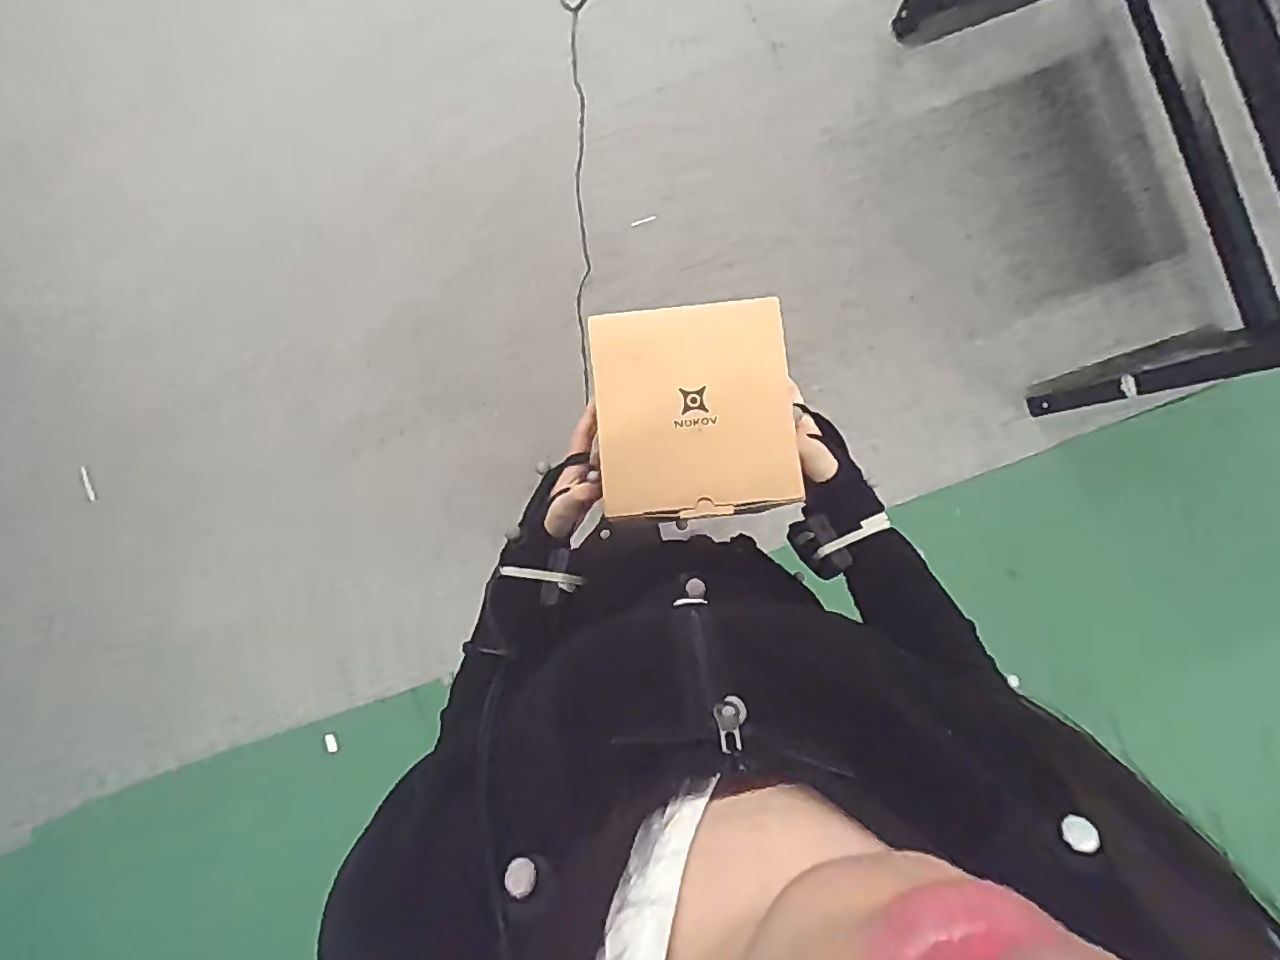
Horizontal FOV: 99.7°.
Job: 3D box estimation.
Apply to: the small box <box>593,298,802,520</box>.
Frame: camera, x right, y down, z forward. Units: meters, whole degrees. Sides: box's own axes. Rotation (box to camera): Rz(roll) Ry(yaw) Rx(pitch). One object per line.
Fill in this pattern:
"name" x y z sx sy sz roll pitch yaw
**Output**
"small box" 0.046 -0.056 0.534 0.168 0.176 0.179 -6 85 0
